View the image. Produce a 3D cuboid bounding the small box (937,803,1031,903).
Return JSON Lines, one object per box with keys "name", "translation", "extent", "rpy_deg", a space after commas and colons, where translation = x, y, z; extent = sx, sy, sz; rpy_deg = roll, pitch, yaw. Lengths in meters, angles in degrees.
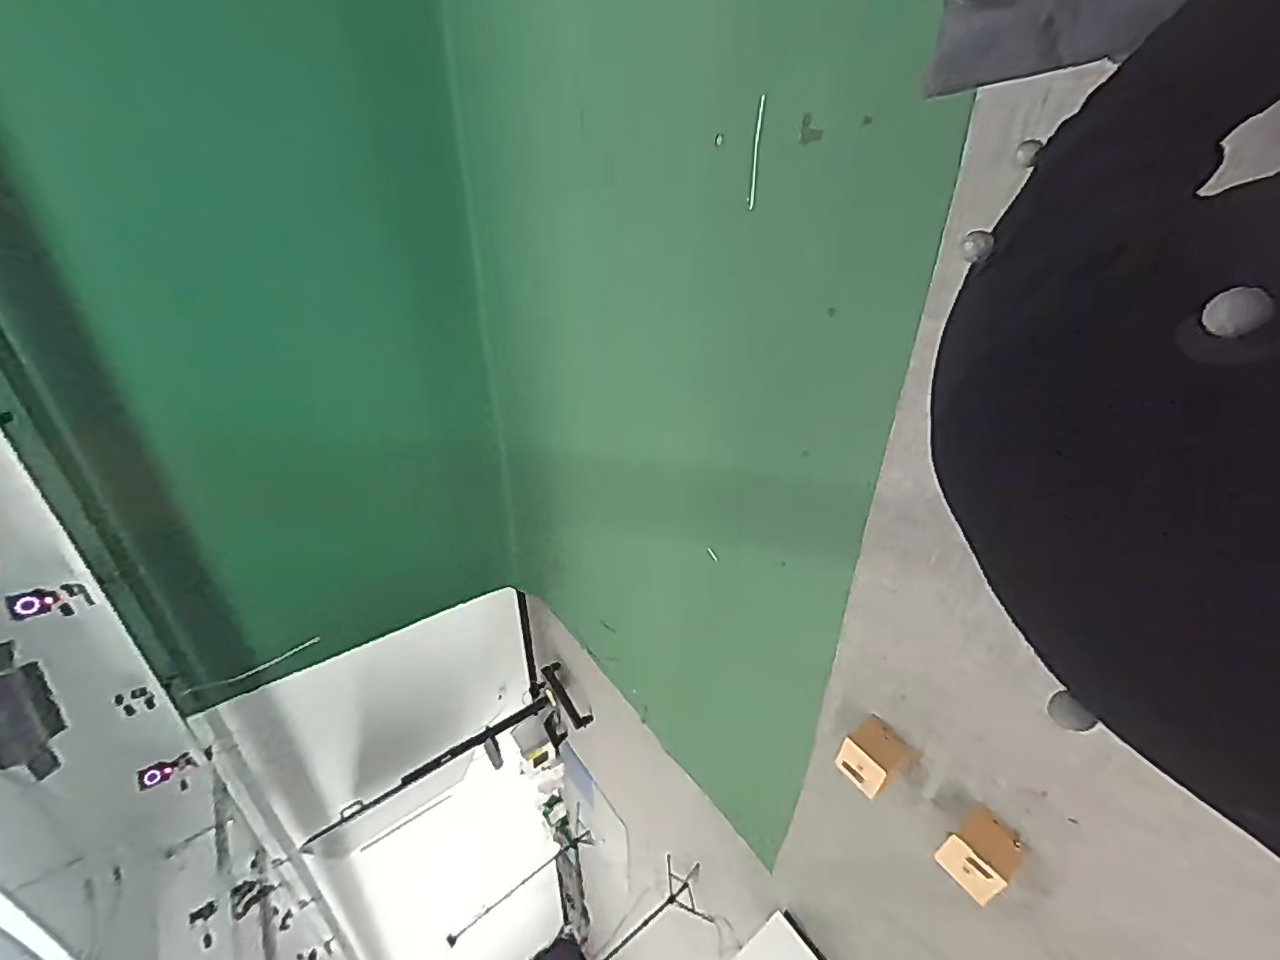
{"name": "small box", "translation": [1.088, 1.168, 1.705], "extent": [0.168, 0.176, 0.179], "rpy_deg": [41, 139, 40]}
